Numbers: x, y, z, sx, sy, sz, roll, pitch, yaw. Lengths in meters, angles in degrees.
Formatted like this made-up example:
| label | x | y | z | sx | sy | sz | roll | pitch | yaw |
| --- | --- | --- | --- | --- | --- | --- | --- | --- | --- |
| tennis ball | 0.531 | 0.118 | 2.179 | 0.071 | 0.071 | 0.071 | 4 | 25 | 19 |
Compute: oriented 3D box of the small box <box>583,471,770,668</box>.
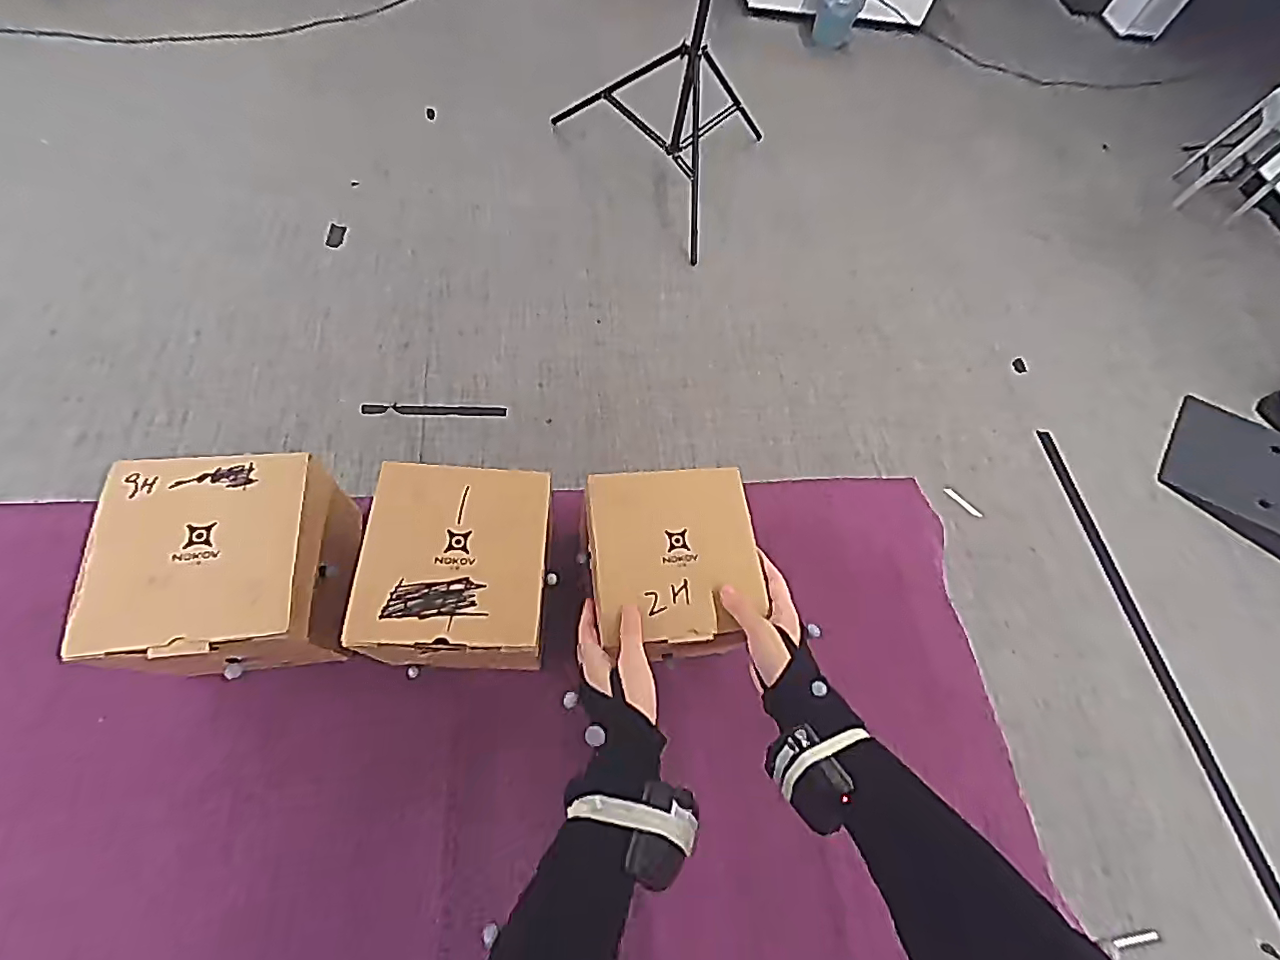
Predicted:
| label | x | y | z | sx | sy | sz | roll | pitch | yaw |
| --- | --- | --- | --- | --- | --- | --- | --- | --- | --- |
| small box | 0.025 | 0.105 | 0.609 | 0.168 | 0.176 | 0.179 | -3 | 66 | -9 |
